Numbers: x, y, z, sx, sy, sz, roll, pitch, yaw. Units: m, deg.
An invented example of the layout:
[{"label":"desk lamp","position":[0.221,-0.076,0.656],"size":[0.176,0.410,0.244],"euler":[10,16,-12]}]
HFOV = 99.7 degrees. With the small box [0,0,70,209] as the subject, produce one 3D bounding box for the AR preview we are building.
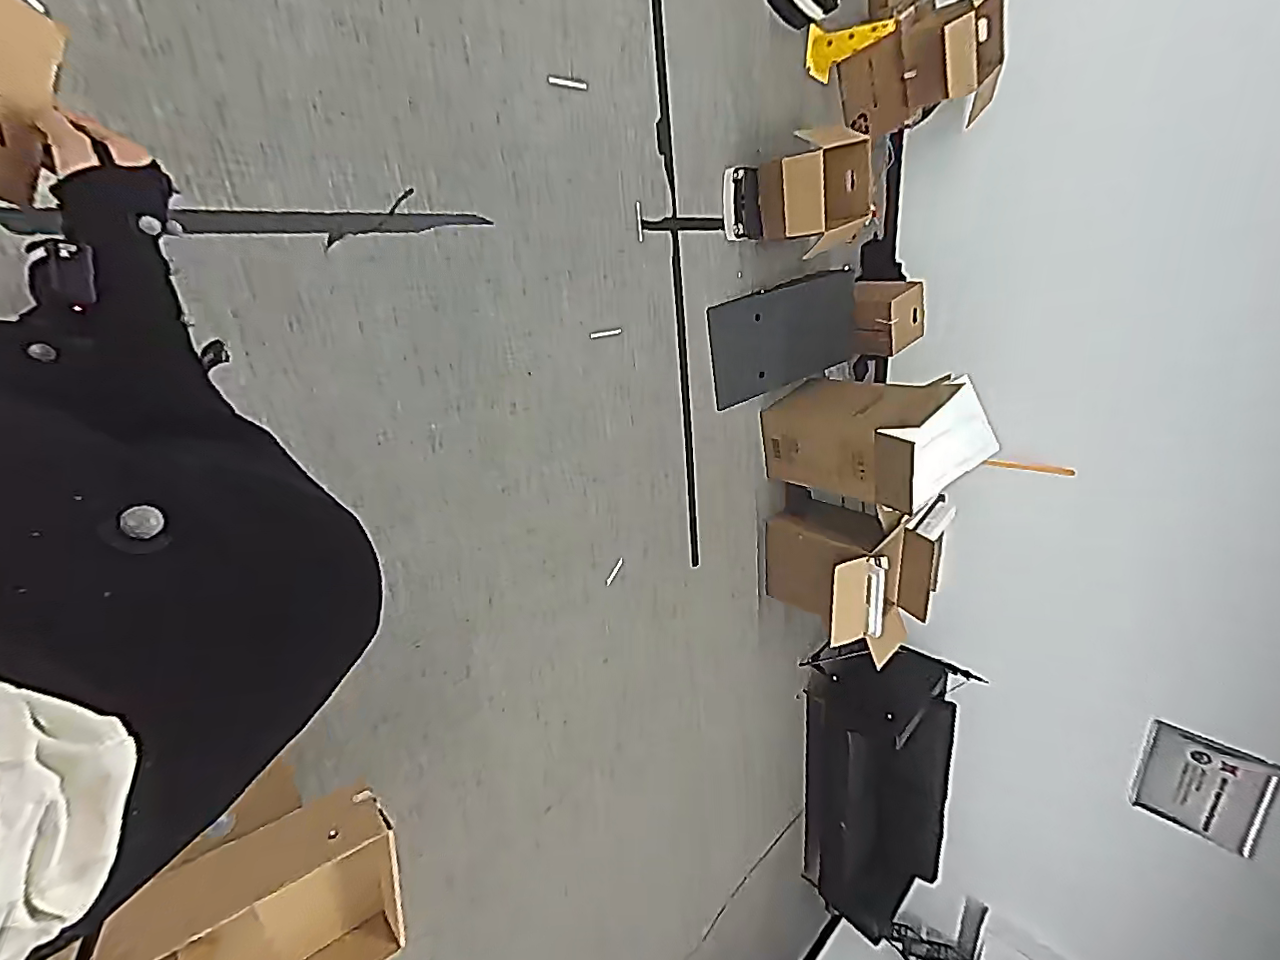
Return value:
[{"label":"small box","position":[-0.630,-0.350,0.434],"size":[0.179,0.176,0.168],"euler":[3,109,-68]}]
